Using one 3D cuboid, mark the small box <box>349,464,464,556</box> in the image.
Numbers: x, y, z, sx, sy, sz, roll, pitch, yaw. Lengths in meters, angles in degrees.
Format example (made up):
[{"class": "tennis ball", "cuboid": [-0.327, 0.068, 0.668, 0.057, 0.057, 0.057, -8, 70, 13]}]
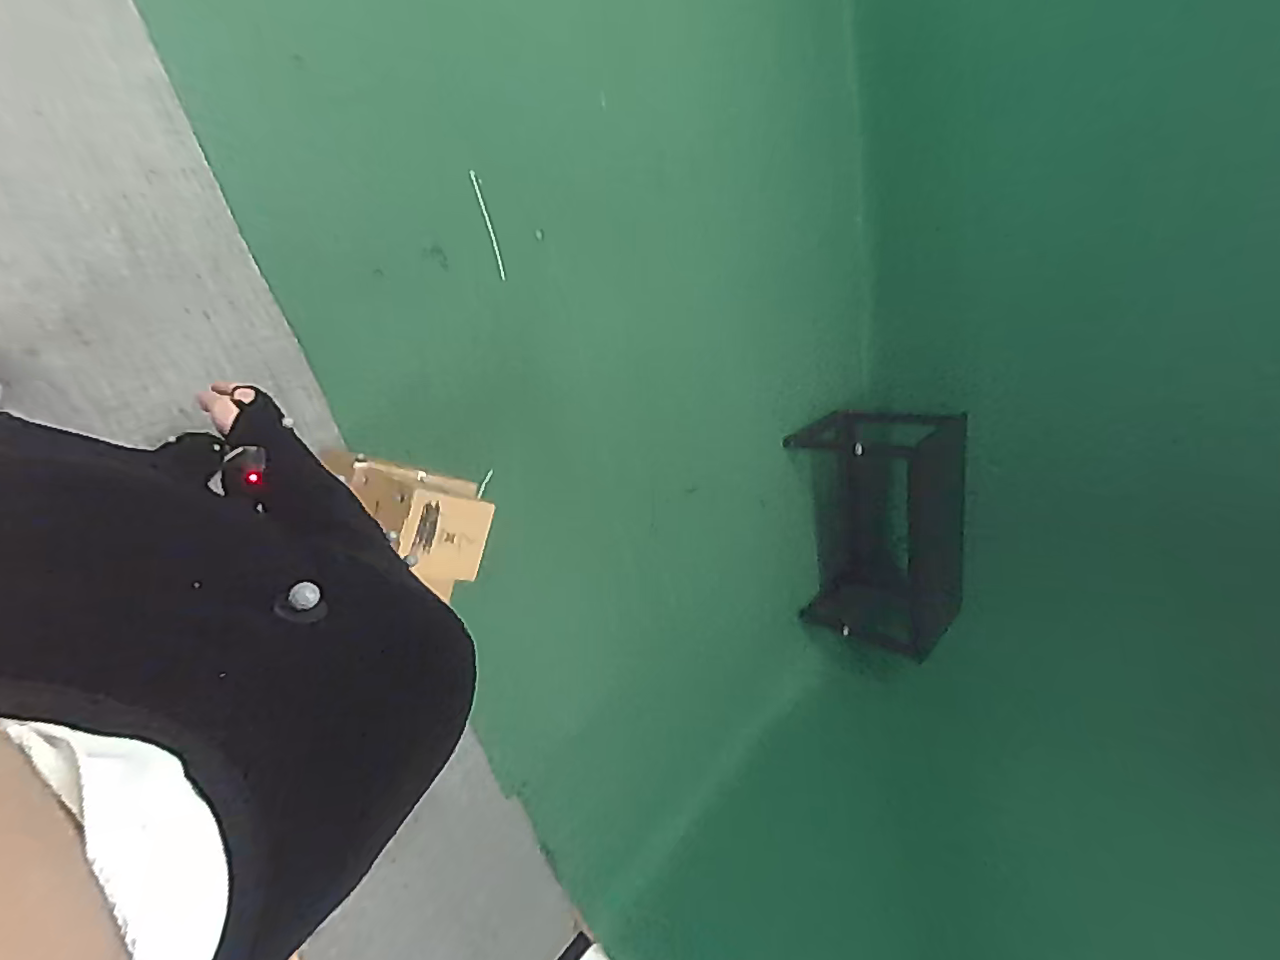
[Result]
[{"class": "small box", "cuboid": [-0.547, 0.067, 1.254, 0.179, 0.176, 0.168, 19, 86, -44]}]
